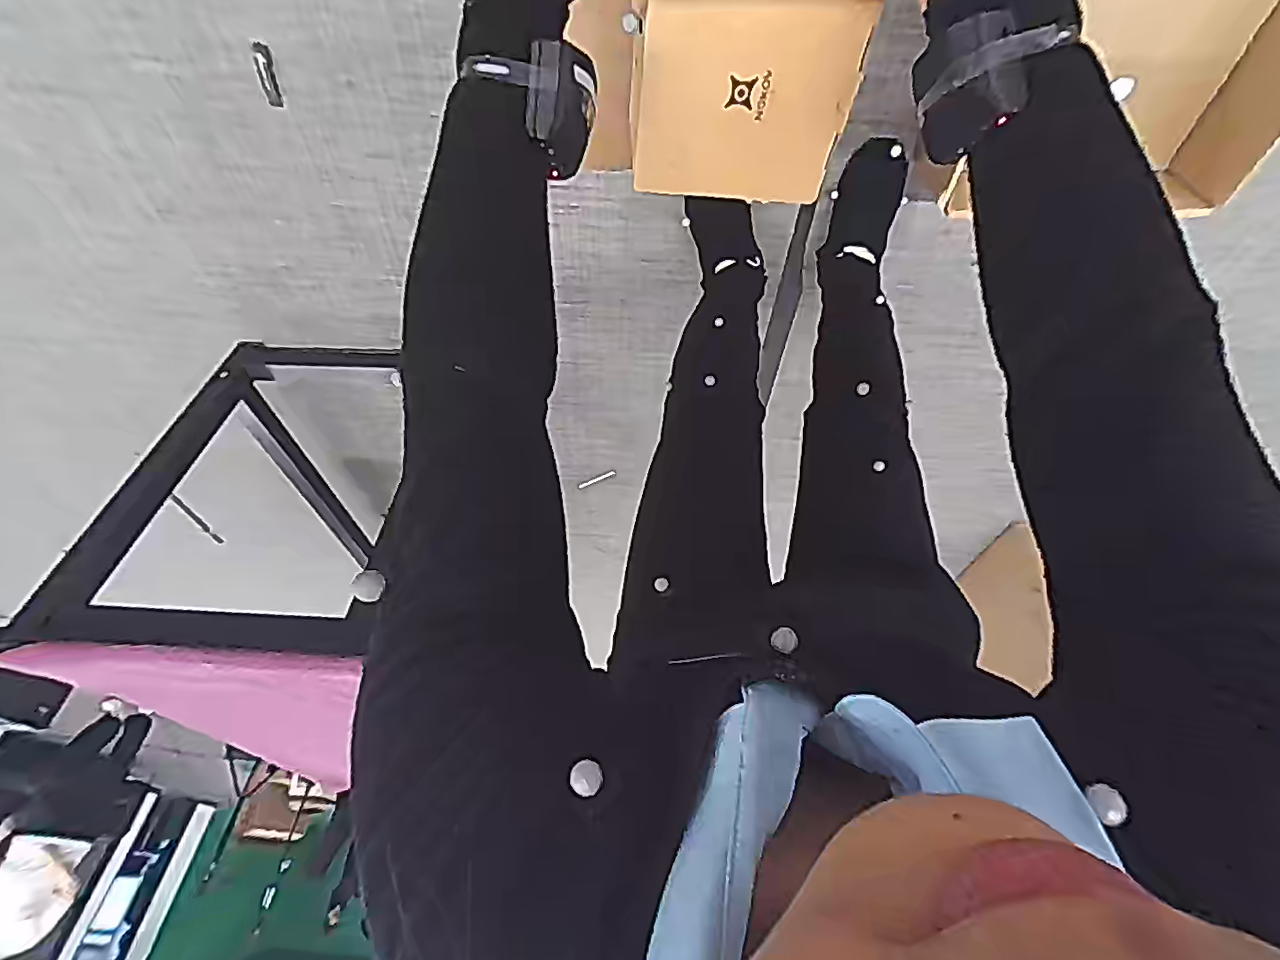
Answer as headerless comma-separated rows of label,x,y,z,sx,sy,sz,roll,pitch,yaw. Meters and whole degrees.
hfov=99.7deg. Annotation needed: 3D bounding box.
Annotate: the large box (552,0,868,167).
large box,0.069,-0.618,0.573,0.320,0.320,0.408,1,143,5
